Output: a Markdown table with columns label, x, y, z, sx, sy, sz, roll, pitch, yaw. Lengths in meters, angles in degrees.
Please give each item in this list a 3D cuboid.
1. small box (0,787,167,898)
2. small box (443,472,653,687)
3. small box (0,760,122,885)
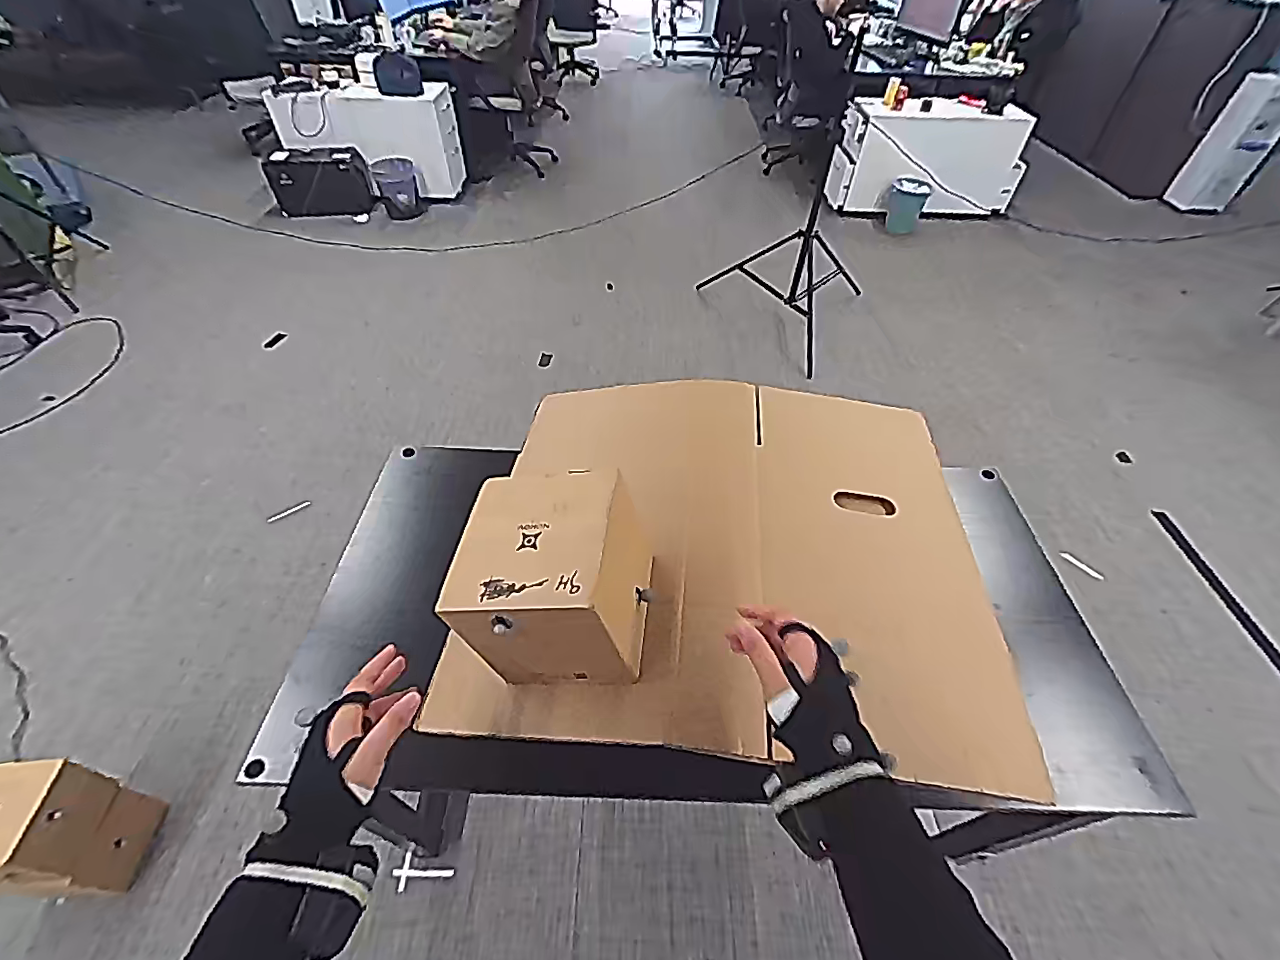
| label | x | y | z | sx | sy | sz | roll | pitch | yaw |
| --- | --- | --- | --- | --- | --- | --- | --- | --- | --- |
| small box | -1.184 | 0.783 | 1.167 | 0.168 | 0.176 | 0.179 | -1 | 48 | -3 |
| small box | -0.086 | 0.114 | 0.618 | 0.168 | 0.176 | 0.179 | -5 | 45 | 15 |
| small box | -1.182 | 0.669 | 1.052 | 0.168 | 0.176 | 0.179 | -3 | 46 | -5 |
